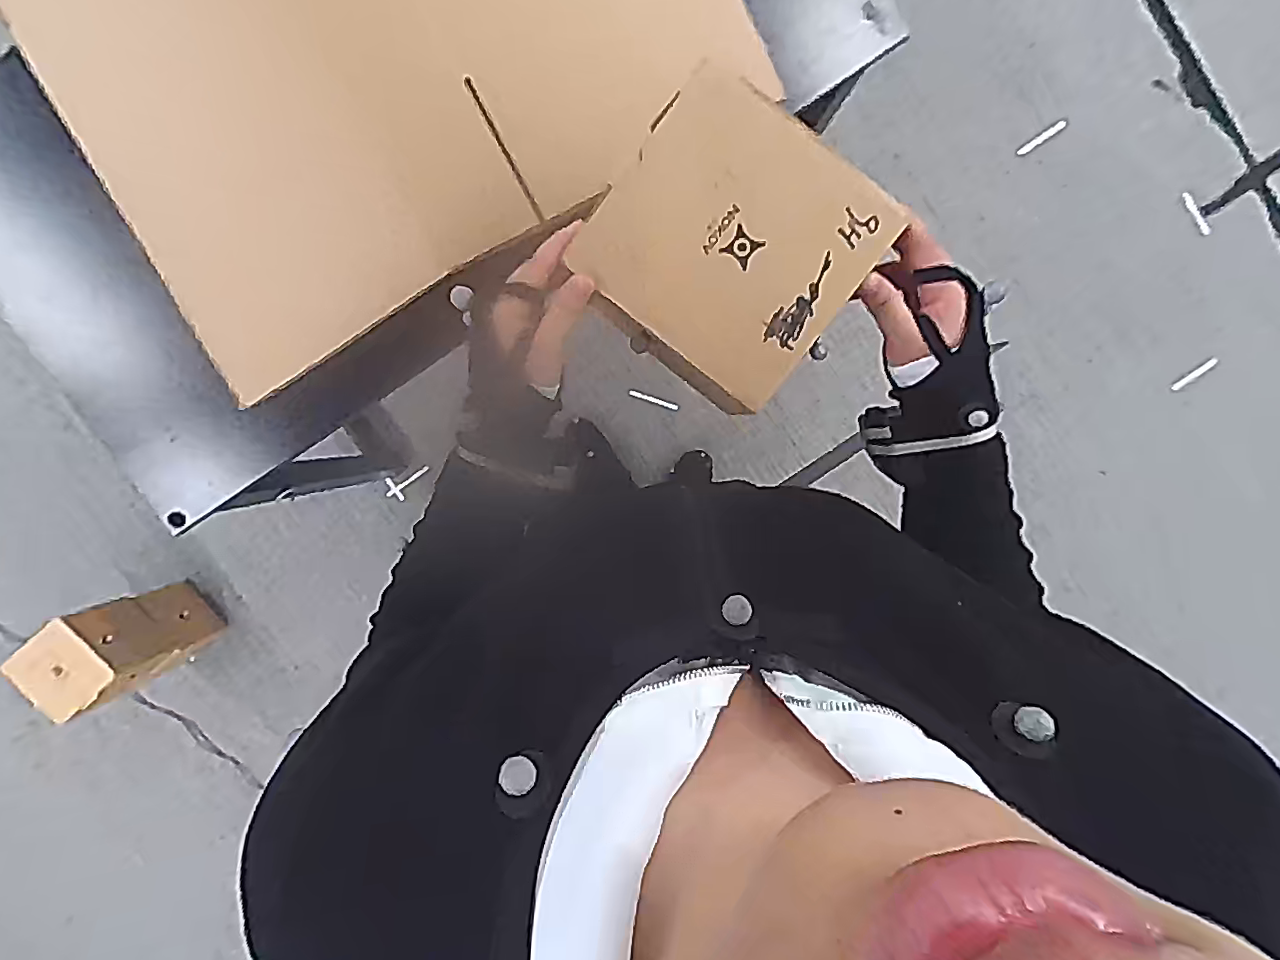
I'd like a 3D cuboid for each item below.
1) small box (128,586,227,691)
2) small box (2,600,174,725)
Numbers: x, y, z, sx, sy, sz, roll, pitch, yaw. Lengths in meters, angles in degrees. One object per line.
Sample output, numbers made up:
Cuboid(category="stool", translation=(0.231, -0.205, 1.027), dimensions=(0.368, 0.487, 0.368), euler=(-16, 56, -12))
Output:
Cuboid(category="small box", translation=(-1.225, 0.390, 1.377), dimensions=(0.168, 0.176, 0.179), euler=(-38, 96, 1))
Cuboid(category="small box", translation=(-1.222, 0.398, 1.215), dimensions=(0.168, 0.176, 0.179), euler=(-41, 94, 0))
